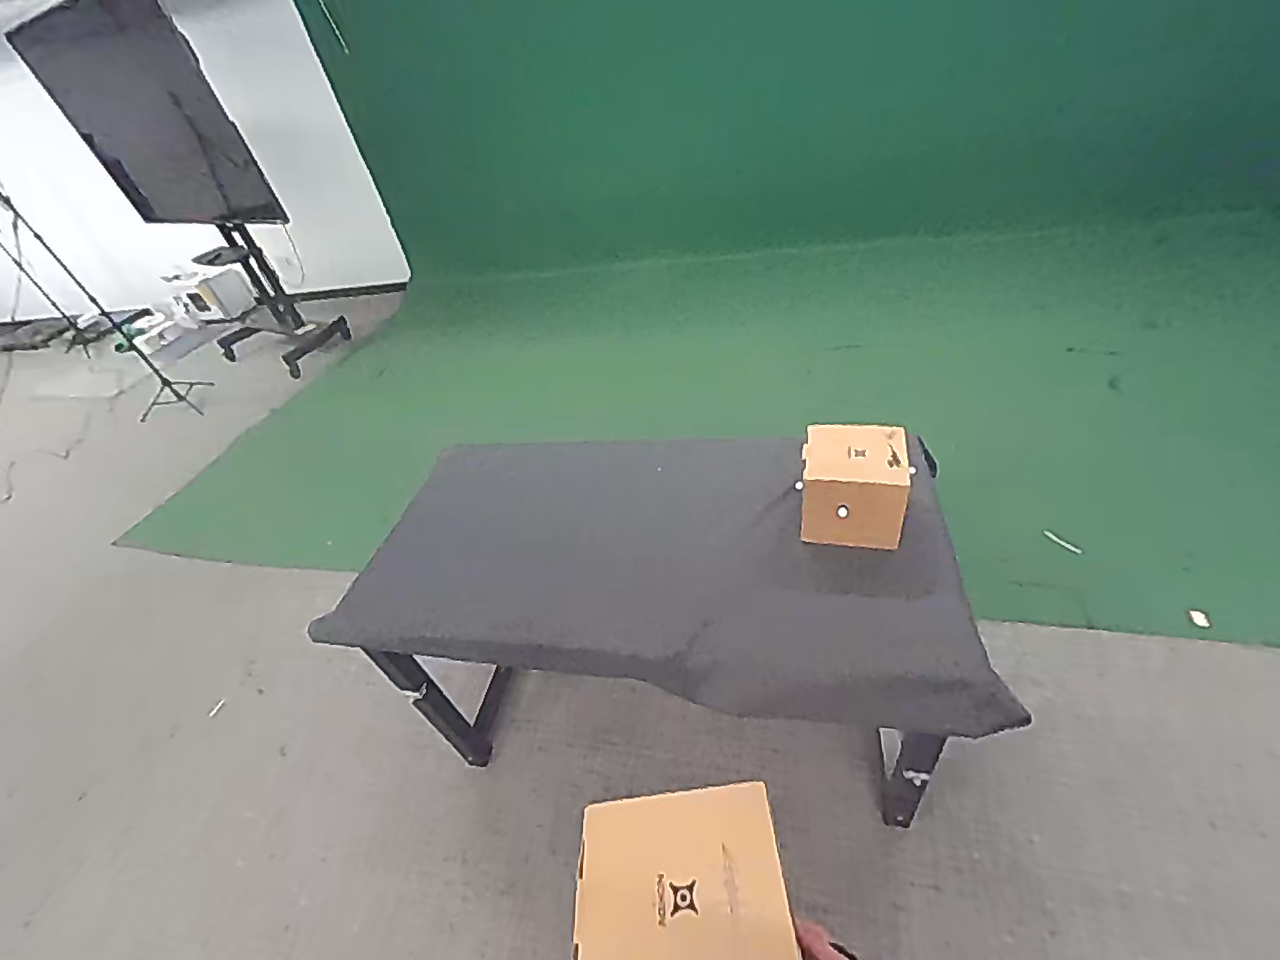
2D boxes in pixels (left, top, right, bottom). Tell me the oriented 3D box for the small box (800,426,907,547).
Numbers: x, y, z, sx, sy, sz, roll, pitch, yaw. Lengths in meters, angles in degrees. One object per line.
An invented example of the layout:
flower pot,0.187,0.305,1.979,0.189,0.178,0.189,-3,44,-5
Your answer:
small box,0.405,0.013,1.040,0.179,0.176,0.168,3,44,19

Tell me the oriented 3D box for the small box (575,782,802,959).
small box,0.050,0.405,0.490,0.179,0.176,0.168,-11,36,6
